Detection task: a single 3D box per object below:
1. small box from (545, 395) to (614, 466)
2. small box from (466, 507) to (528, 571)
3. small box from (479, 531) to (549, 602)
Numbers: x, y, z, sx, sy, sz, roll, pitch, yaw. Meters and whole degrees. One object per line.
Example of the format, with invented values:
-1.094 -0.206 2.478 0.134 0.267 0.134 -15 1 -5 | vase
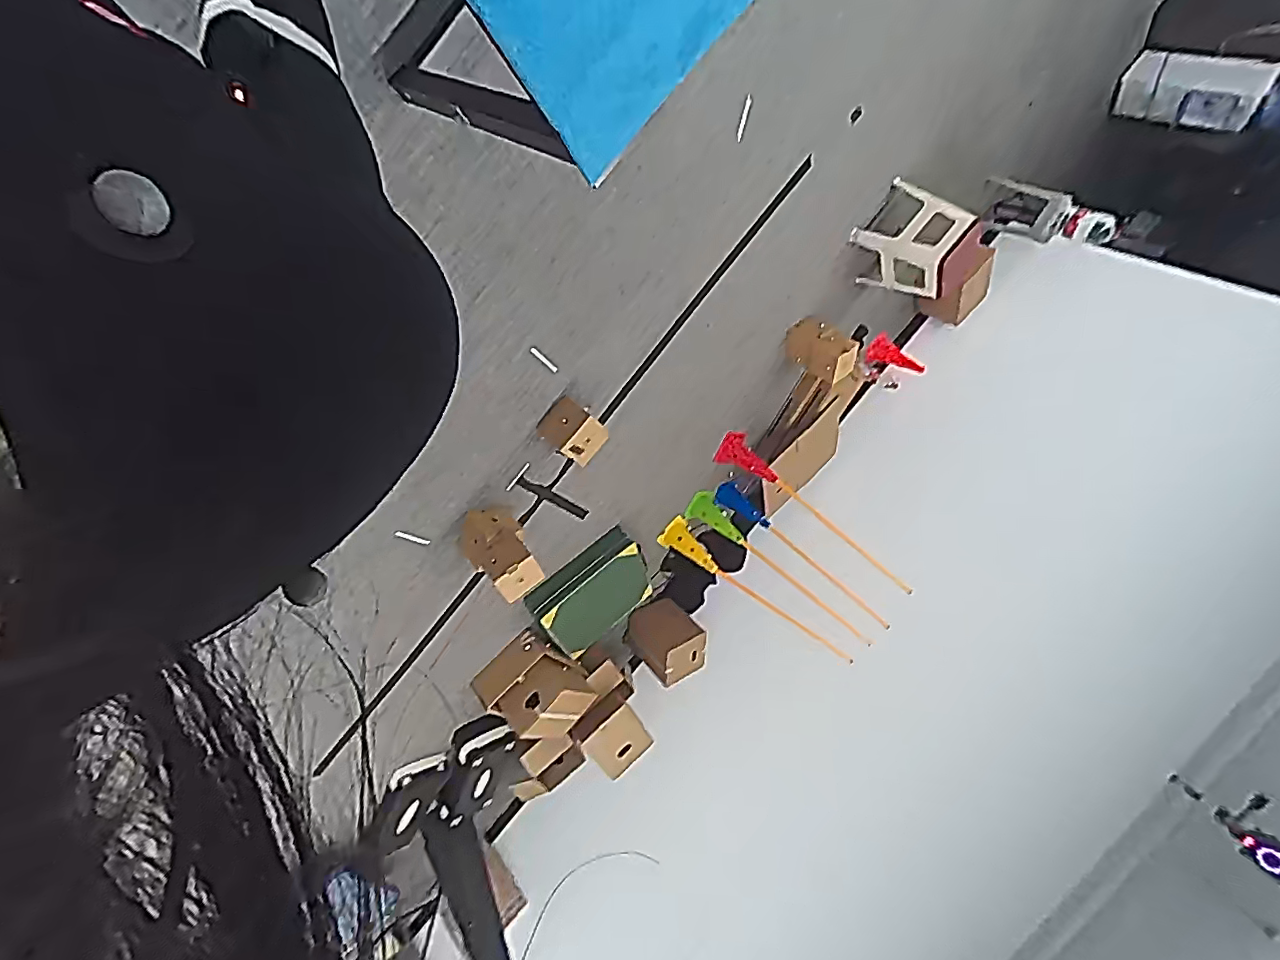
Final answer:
-0.238 -0.189 2.065 0.179 0.176 0.168 -50 147 0 | small box
-0.563 0.222 2.109 0.168 0.176 0.179 -12 133 -43 | small box
-0.469 0.313 2.007 0.168 0.176 0.179 -36 145 -16 | small box
